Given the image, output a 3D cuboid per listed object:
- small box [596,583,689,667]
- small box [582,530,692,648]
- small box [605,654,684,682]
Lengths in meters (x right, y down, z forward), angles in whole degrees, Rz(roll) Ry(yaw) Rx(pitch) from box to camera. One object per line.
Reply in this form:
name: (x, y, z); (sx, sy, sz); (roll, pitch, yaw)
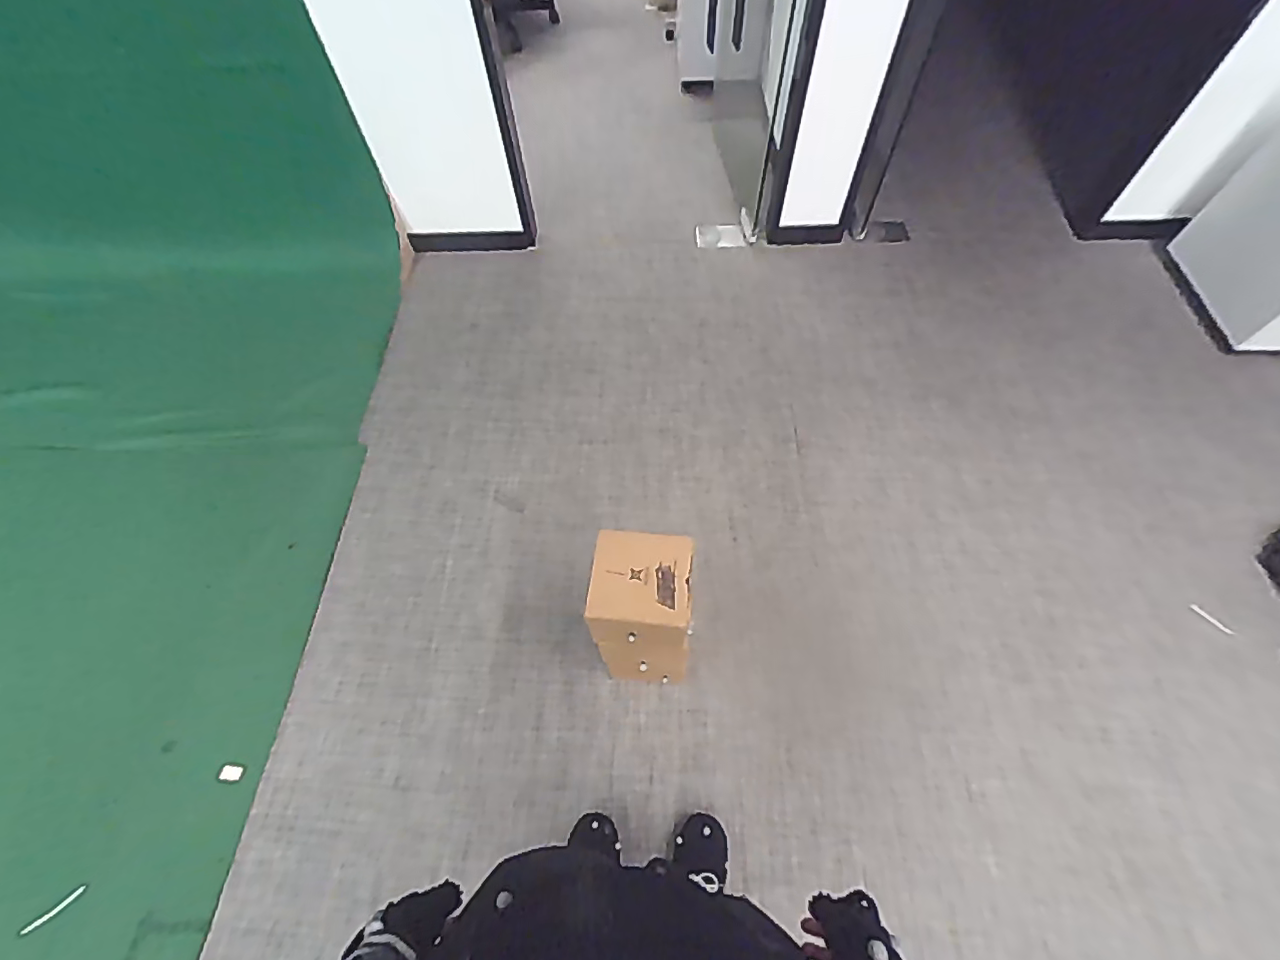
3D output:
small box: (0.009, 0.296, 1.158); (0.179, 0.176, 0.168); (4, 59, 4)
small box: (0.001, 0.210, 1.018); (0.179, 0.176, 0.168); (5, 59, 7)
small box: (0.016, 0.382, 1.297); (0.179, 0.176, 0.168); (2, 59, 4)
